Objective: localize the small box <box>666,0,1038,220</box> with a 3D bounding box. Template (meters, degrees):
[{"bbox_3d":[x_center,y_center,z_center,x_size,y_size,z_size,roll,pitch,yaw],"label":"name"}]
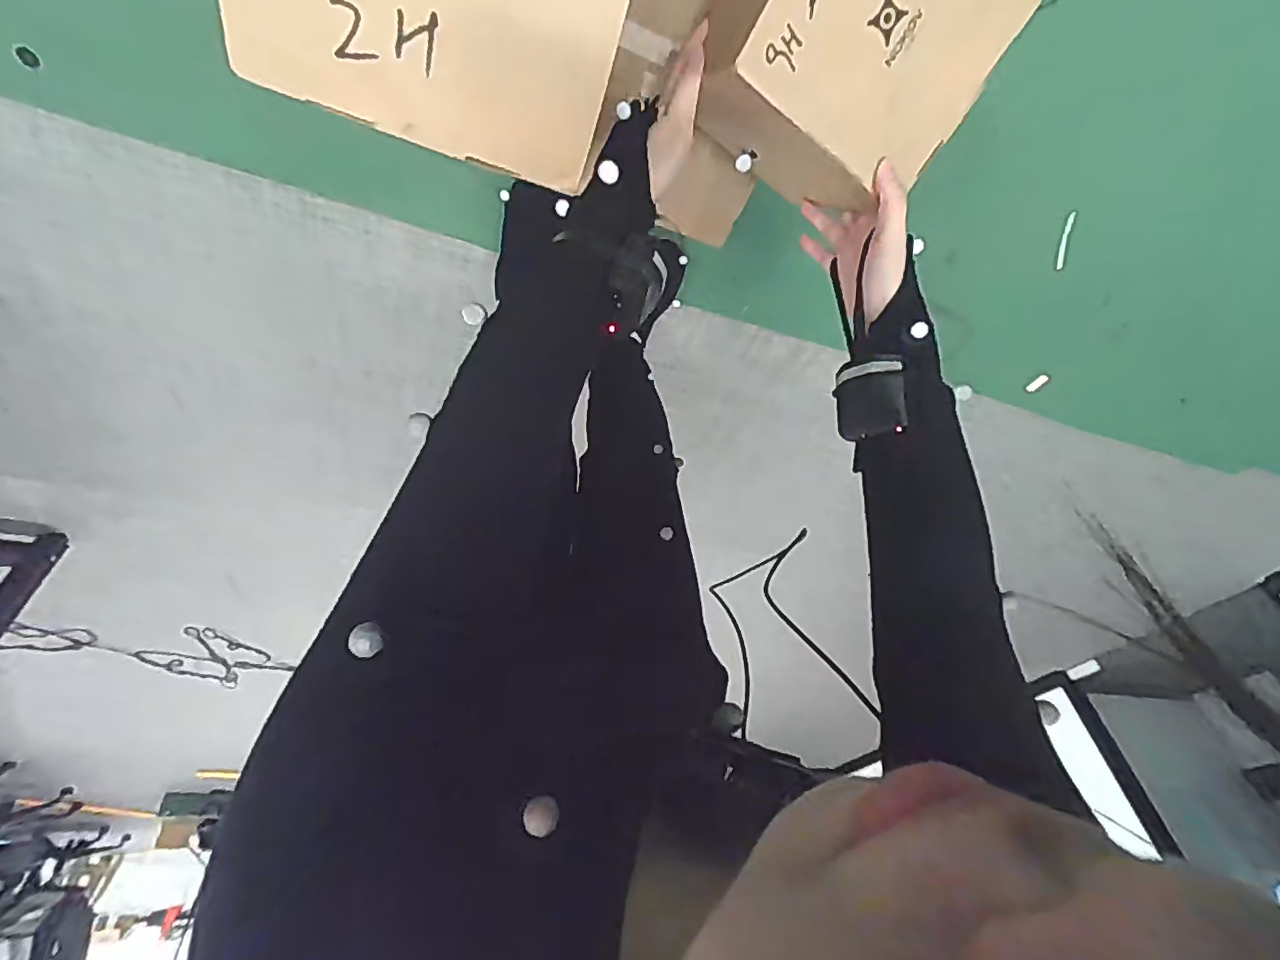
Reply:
[{"bbox_3d":[0.149,-0.340,0.432,0.179,0.176,0.168,23,110,-27],"label":"small box"}]

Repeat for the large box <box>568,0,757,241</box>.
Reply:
[{"bbox_3d":[-0.038,-0.535,0.599,0.408,0.320,0.320,12,136,-19],"label":"large box"}]

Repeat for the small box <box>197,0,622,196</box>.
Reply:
[{"bbox_3d":[-0.091,-0.282,0.262,0.168,0.176,0.179,12,134,-19],"label":"small box"}]
